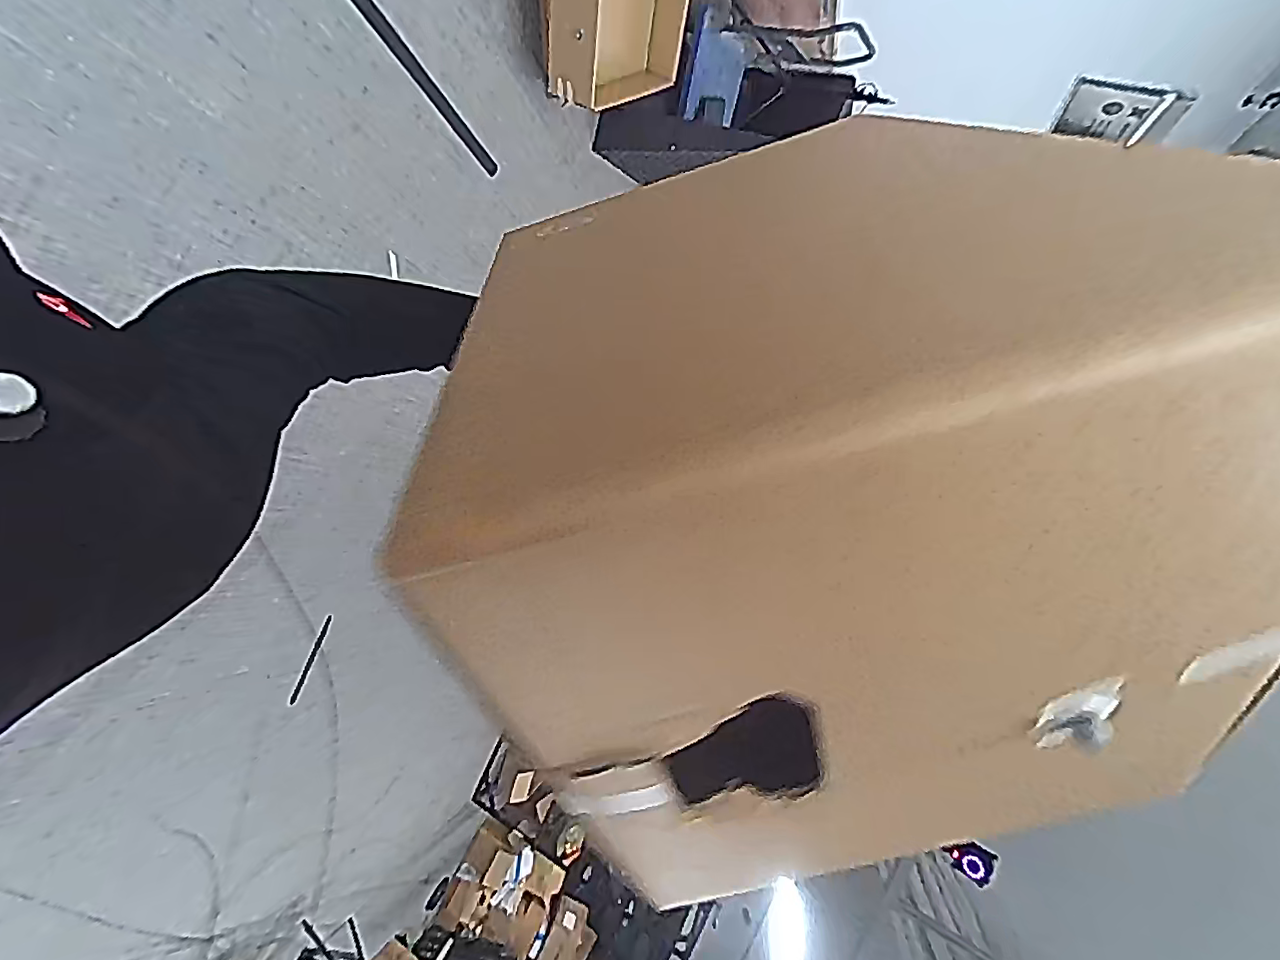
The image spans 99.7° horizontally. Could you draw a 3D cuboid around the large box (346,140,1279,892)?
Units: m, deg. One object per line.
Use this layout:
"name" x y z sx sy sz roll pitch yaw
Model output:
"large box" 0.085 -0.015 0.386 0.408 0.320 0.320 -97 171 -54
